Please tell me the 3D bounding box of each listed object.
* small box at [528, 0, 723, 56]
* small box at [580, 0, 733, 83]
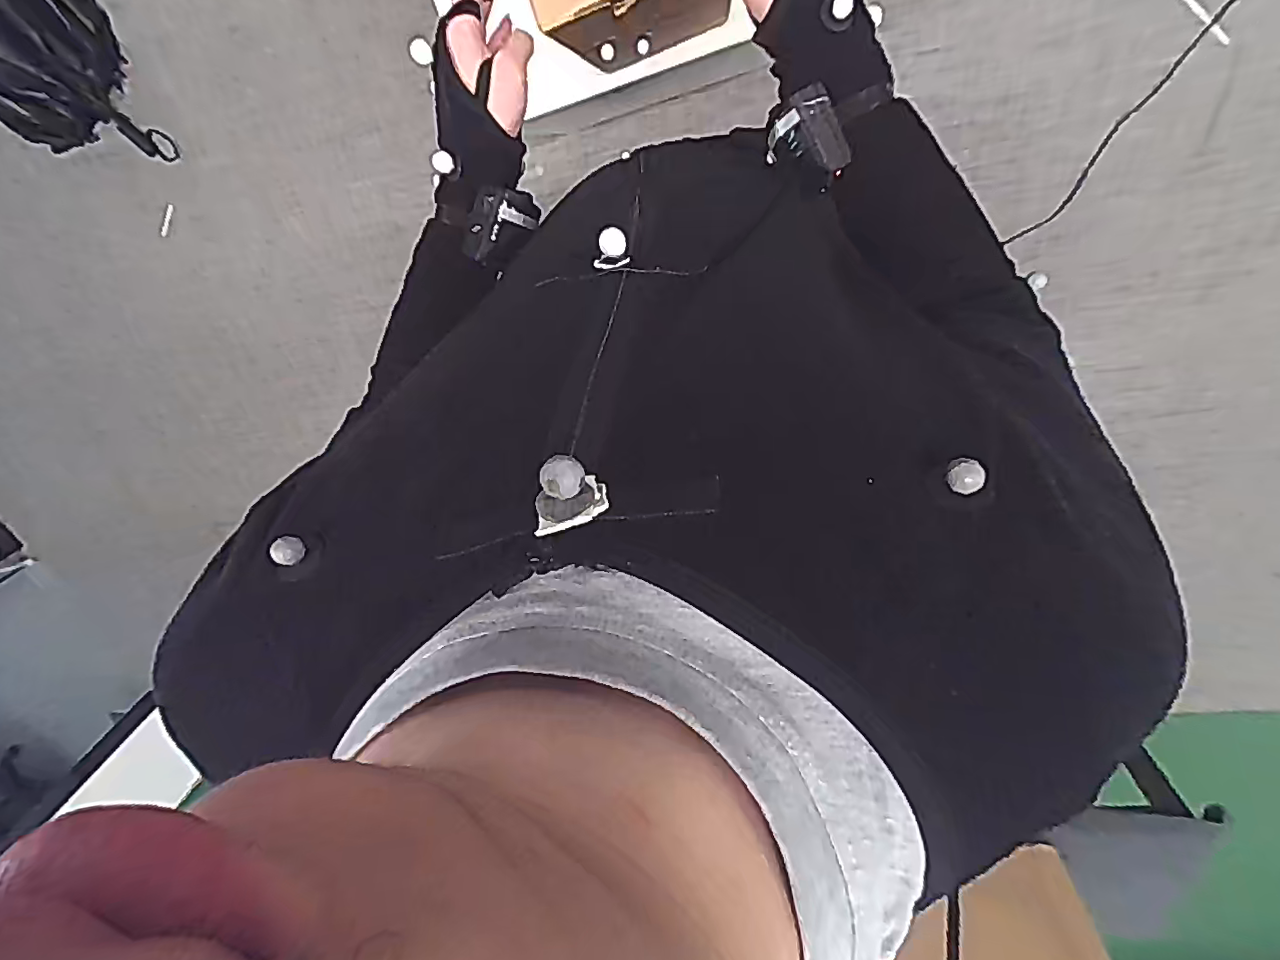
[{"bbox_3d":[-0.020,-0.483,0.444,0.168,0.176,0.179,-13,117,14],"label":"small box"},{"bbox_3d":[-0.002,-0.568,0.585,0.168,0.176,0.179,-14,118,15],"label":"small box"}]
